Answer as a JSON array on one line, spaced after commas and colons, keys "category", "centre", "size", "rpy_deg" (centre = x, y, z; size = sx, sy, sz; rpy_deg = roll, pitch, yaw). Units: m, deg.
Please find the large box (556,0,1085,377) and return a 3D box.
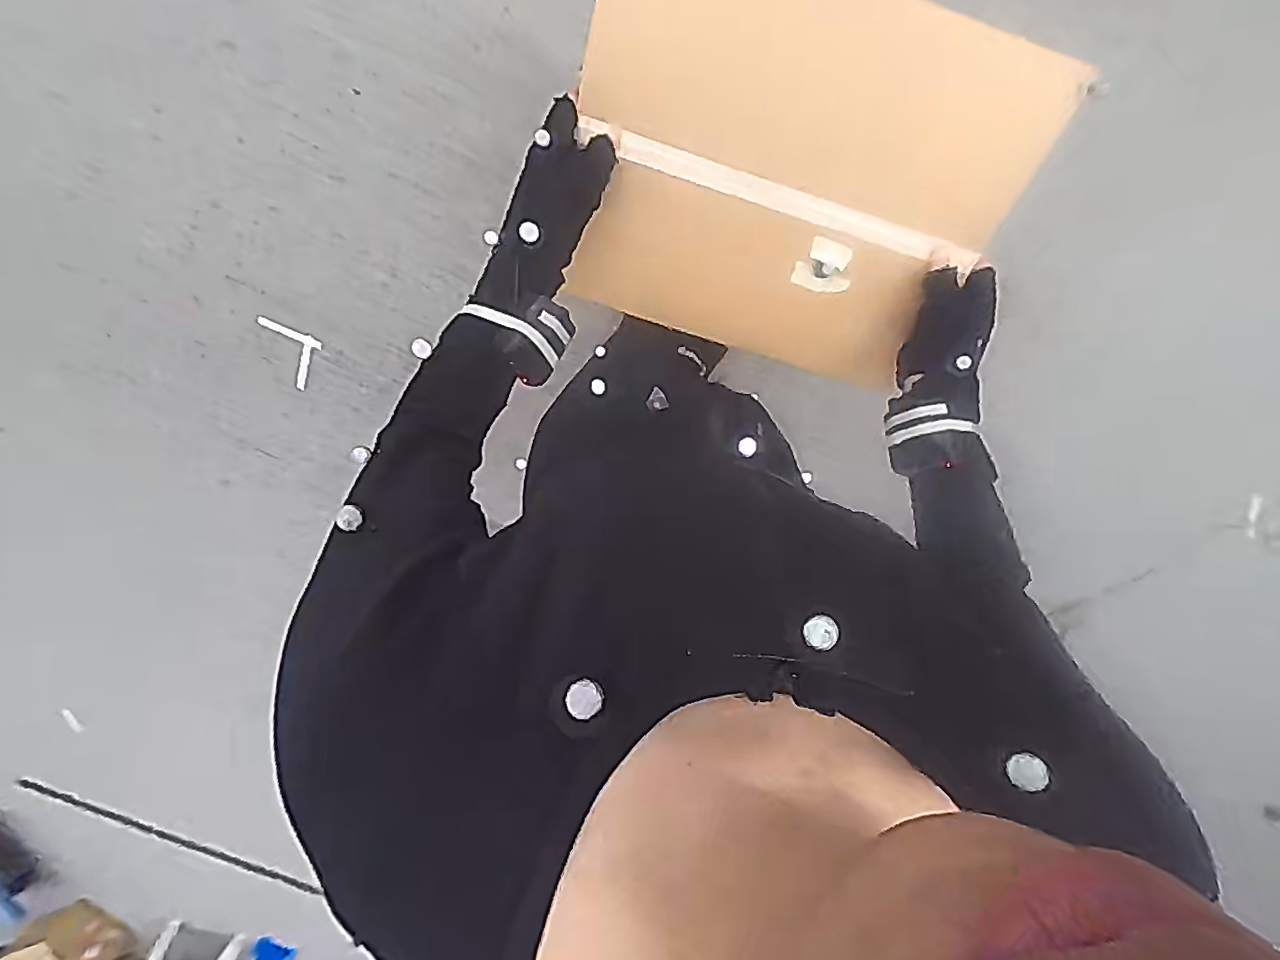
[{"category": "large box", "centre": [0.145, -0.370, 0.628], "size": [0.408, 0.320, 0.320], "rpy_deg": [14, 130, -6]}]
